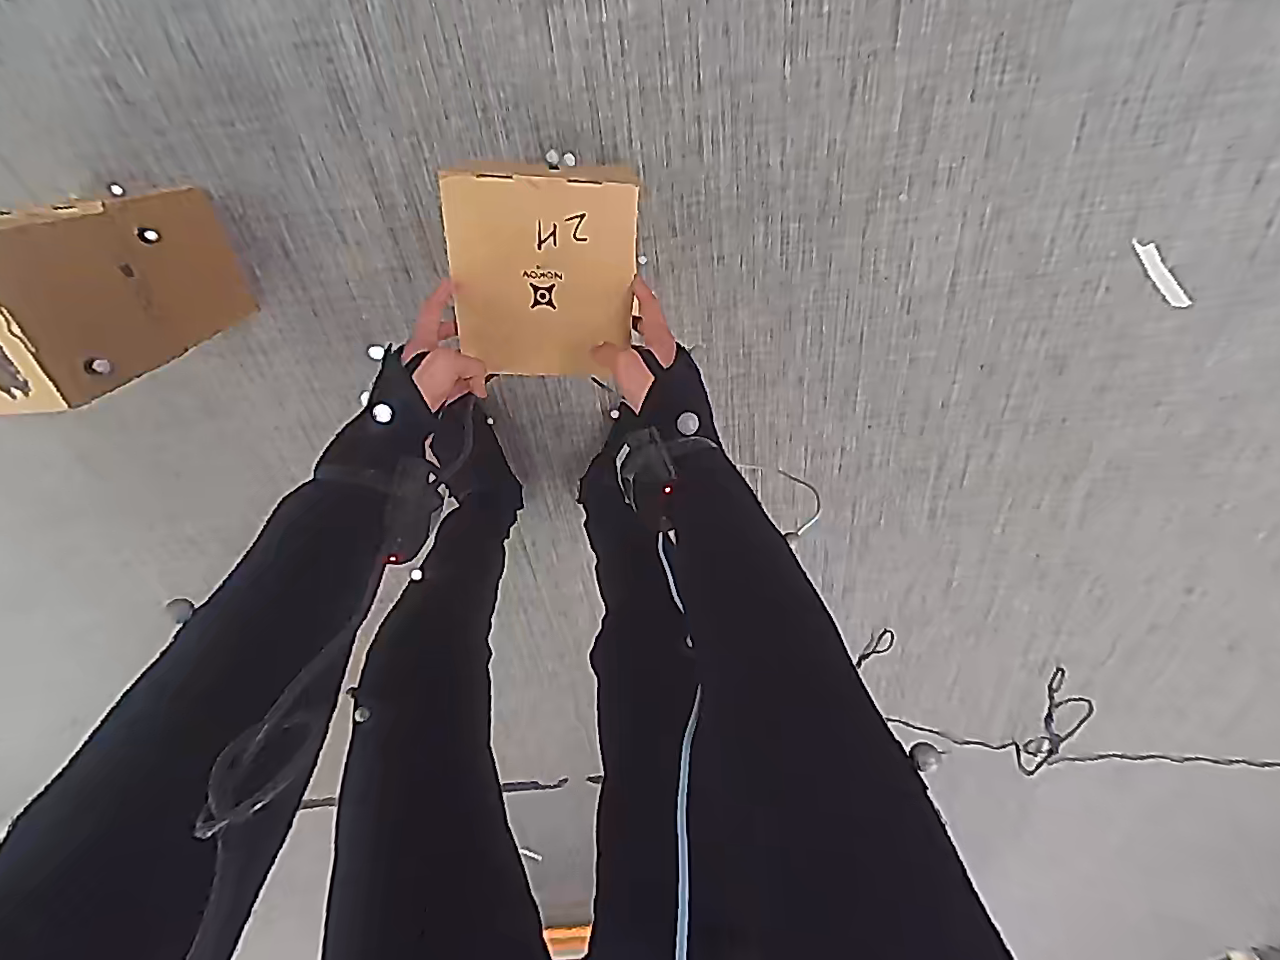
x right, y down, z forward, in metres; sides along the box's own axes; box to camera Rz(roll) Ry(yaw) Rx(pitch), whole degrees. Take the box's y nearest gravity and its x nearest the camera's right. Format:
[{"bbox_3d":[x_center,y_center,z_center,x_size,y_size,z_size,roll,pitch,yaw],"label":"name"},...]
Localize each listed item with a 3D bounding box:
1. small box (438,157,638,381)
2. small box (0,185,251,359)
[{"bbox_3d":[-0.093,-0.218,0.553,0.168,0.176,0.179,1,123,-5],"label":"small box"},{"bbox_3d":[-0.664,-0.274,0.706,0.168,0.176,0.179,-4,123,2],"label":"small box"}]
